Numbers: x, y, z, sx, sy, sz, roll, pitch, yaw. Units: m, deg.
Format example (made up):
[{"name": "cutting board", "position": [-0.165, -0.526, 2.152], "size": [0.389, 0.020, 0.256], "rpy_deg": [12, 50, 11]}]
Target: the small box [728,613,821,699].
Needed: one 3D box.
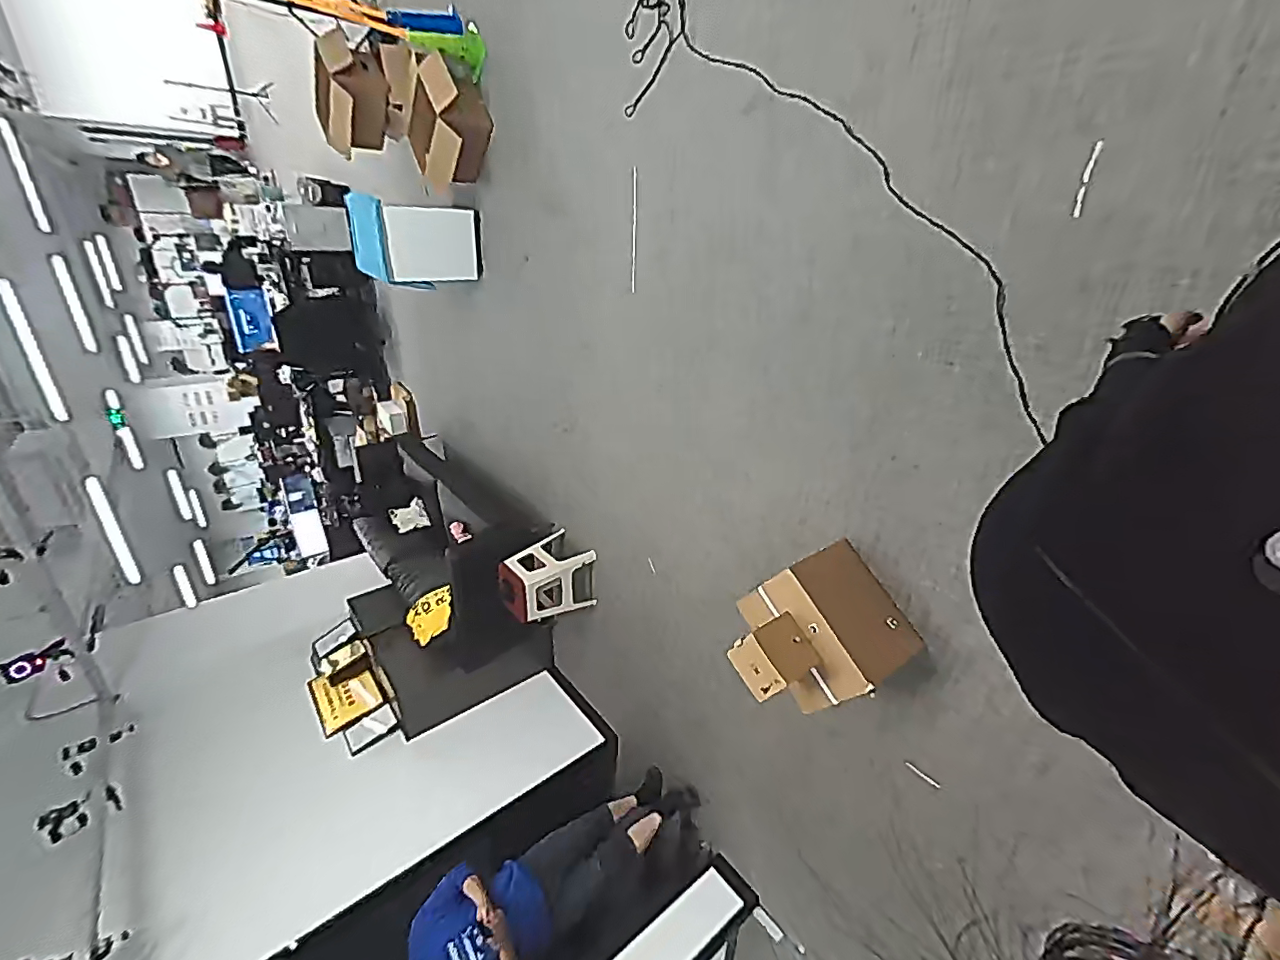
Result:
[{"name": "small box", "position": [0.408, 0.526, 1.641], "size": [0.179, 0.176, 0.168], "rpy_deg": [56, 143, 23]}]
